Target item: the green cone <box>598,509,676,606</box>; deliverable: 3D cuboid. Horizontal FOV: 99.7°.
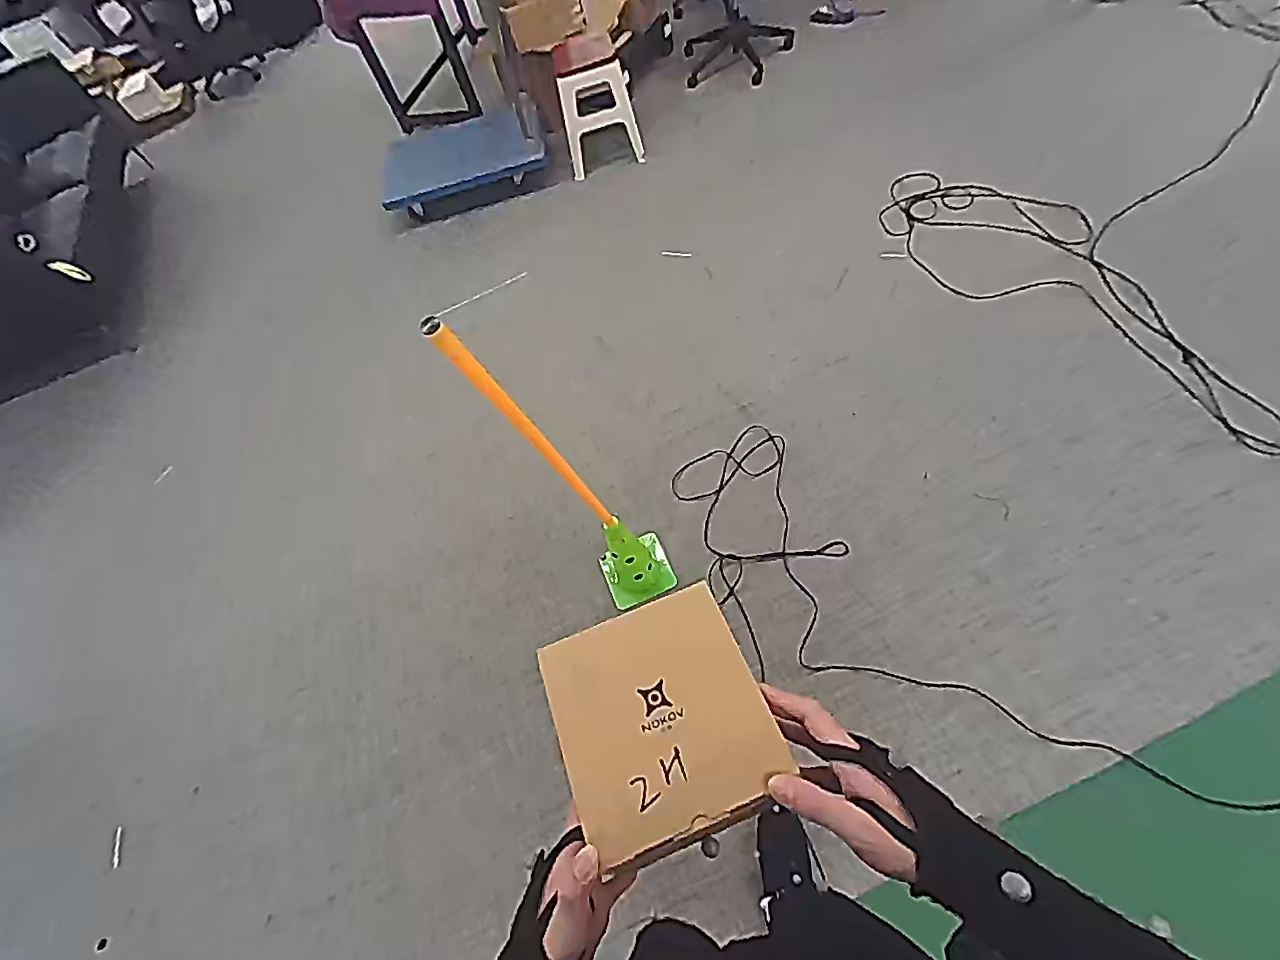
[{"bbox_3d":[-0.041,0.184,1.517,0.202,0.368,0.200,-24,59,-3],"label":"green cone"}]
